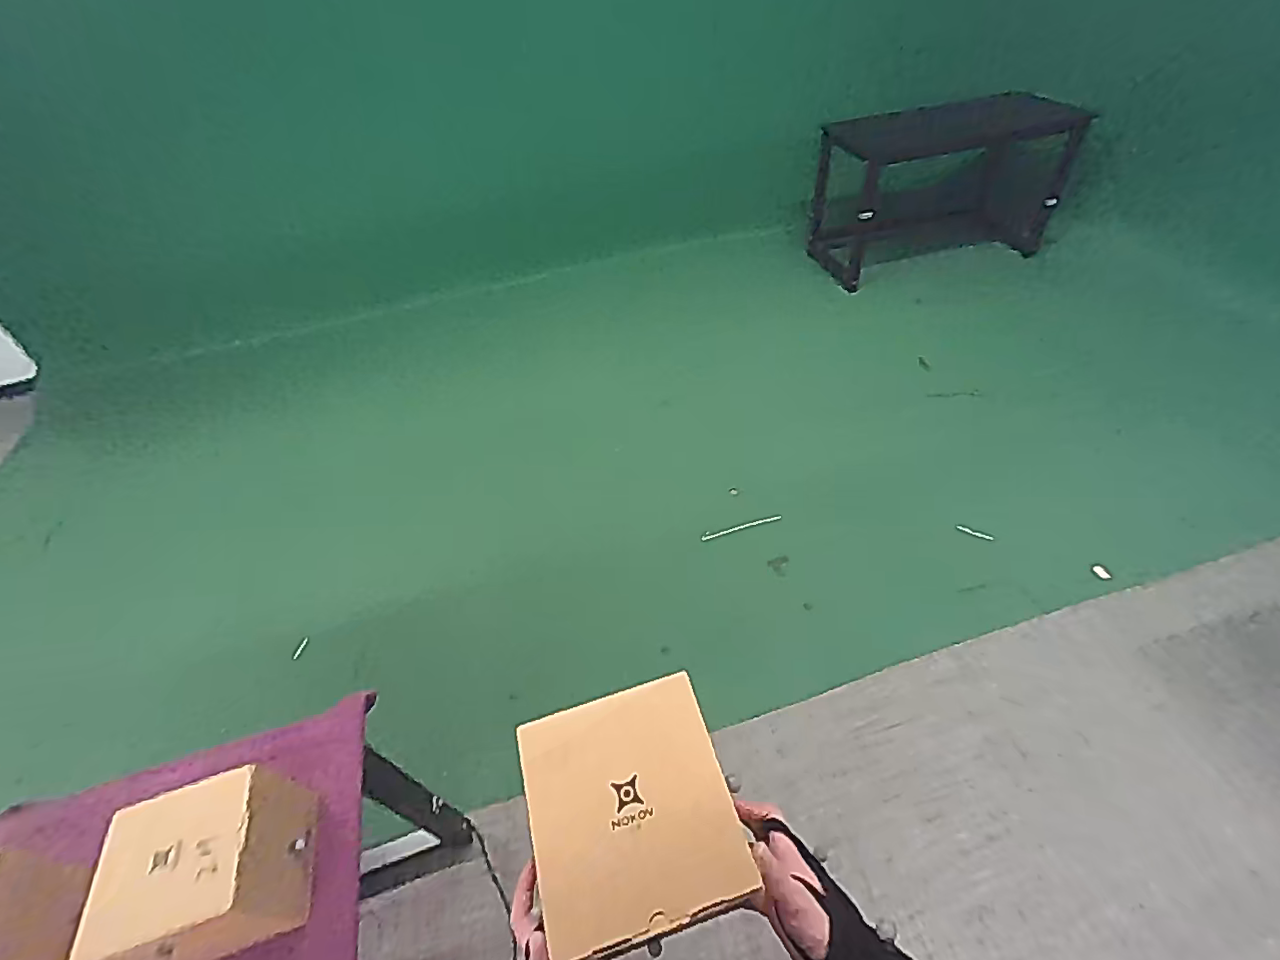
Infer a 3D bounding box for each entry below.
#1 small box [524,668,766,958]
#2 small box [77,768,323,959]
[{"bbox_3d":[-0.001,0.310,0.510,0.168,0.176,0.179,-16,52,-8],"label":"small box"},{"bbox_3d":[-0.562,0.522,0.722,0.179,0.176,0.168,-17,48,-9],"label":"small box"}]
